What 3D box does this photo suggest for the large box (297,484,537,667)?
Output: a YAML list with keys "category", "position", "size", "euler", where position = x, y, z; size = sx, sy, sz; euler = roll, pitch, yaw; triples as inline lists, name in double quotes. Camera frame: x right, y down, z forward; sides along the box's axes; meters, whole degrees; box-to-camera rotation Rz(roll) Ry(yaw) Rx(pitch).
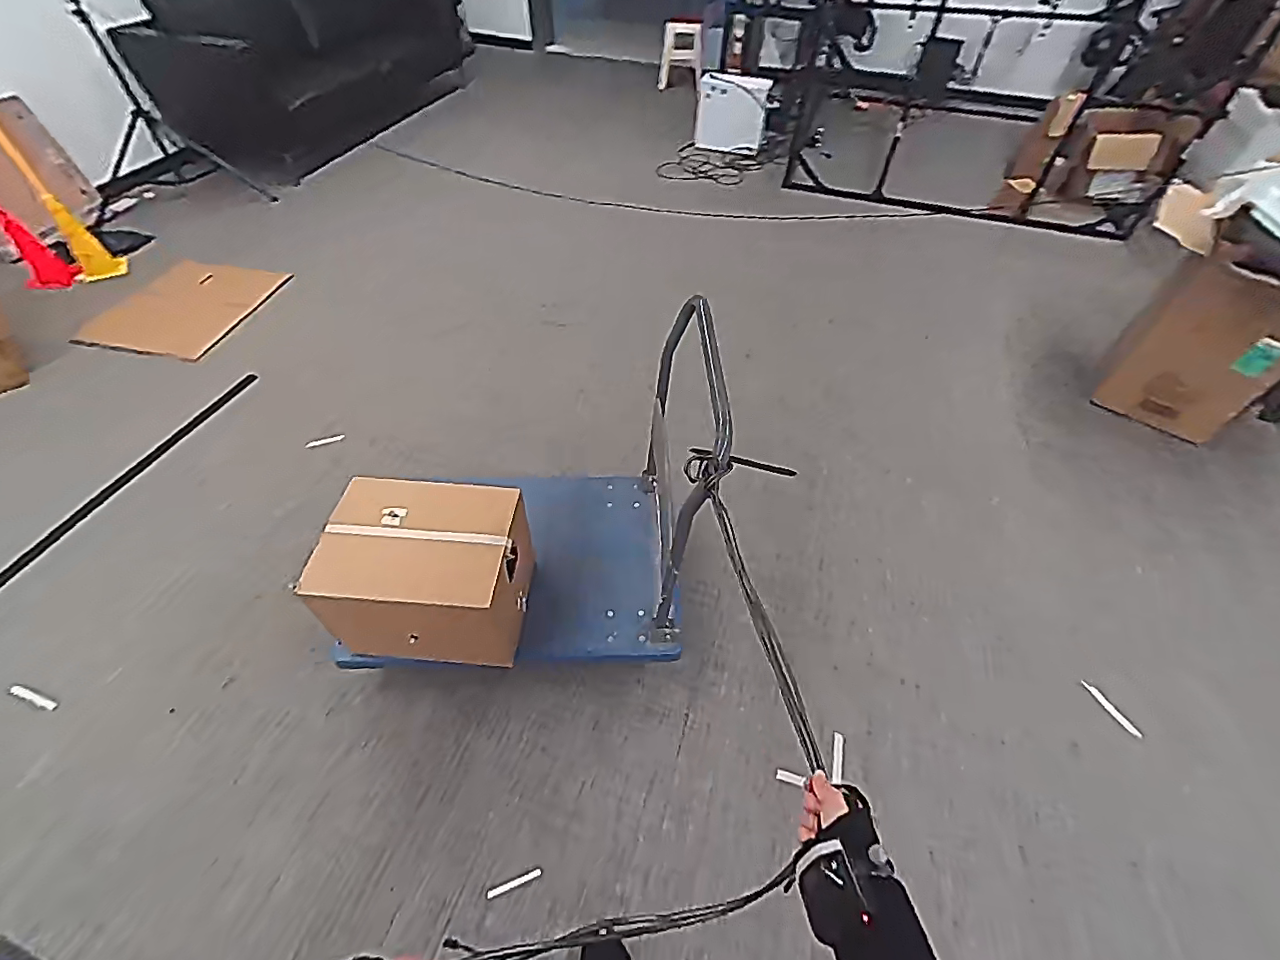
- category: "large box"
  position: [-0.483, 0.231, 1.286]
  size: [0.408, 0.320, 0.320]
  euler: [4, 49, 2]
